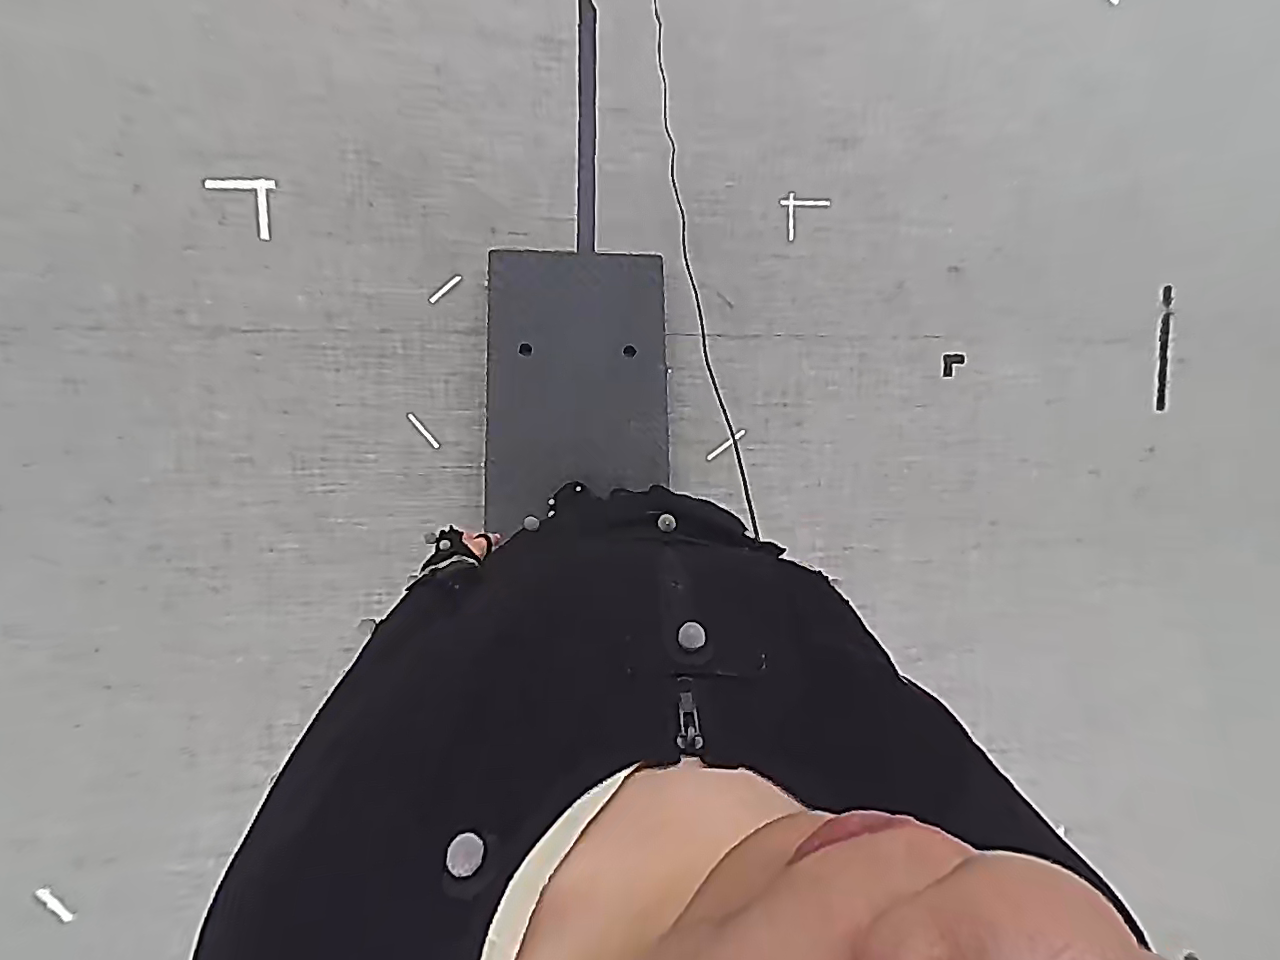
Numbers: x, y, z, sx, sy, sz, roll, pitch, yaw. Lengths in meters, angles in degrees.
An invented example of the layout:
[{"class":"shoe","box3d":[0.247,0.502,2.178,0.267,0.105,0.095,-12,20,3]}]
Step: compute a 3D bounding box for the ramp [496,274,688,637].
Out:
[{"class":"ramp","box3d":[-0.139,-0.100,1.461,0.509,0.206,0.991,-3,90,-4]}]
